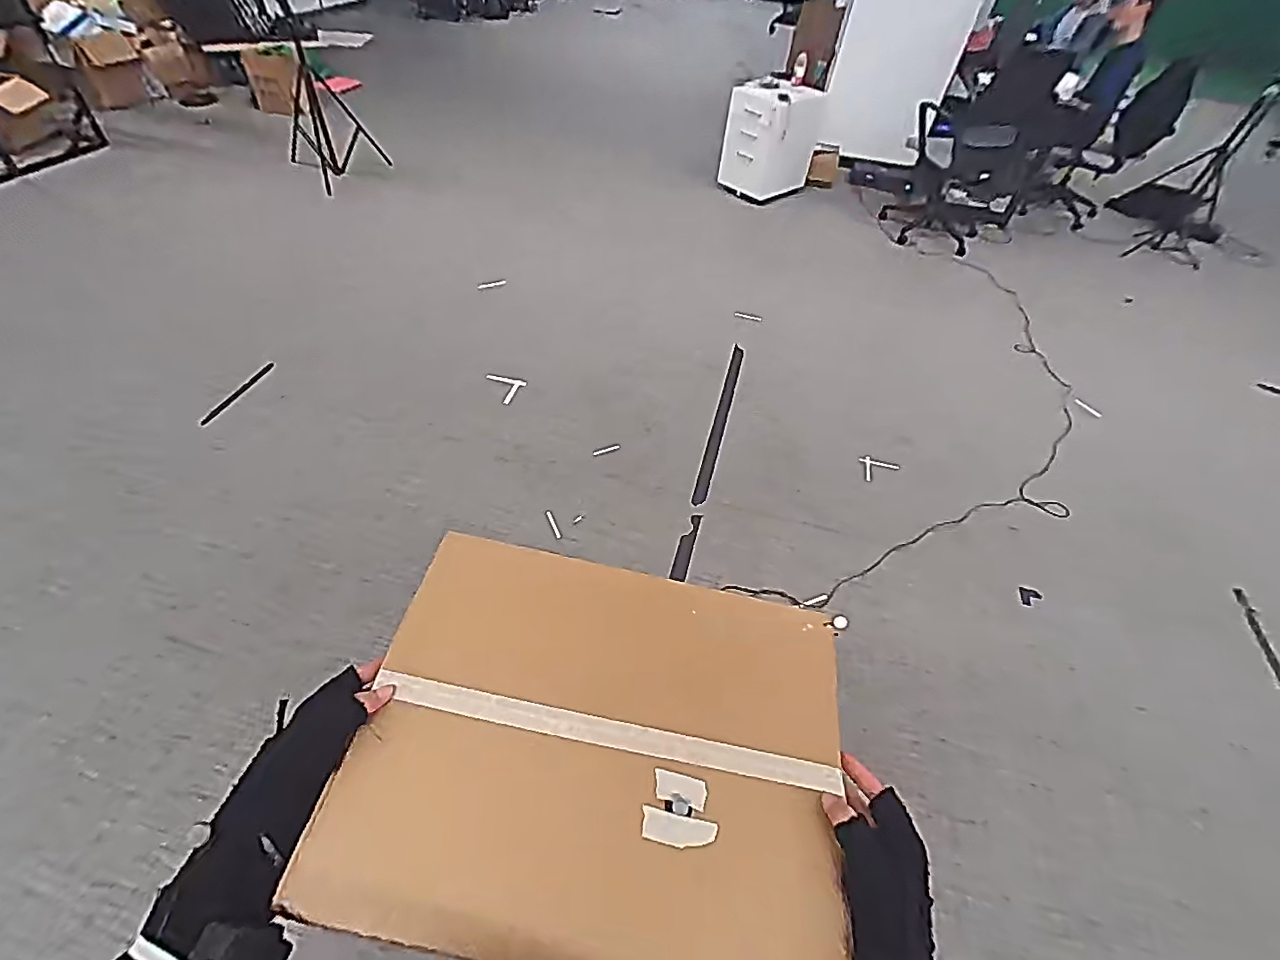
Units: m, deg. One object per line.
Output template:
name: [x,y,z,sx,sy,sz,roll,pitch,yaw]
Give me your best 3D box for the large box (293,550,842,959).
large box: [-0.049,0.317,0.585,0.408,0.320,0.320,12,52,0]
